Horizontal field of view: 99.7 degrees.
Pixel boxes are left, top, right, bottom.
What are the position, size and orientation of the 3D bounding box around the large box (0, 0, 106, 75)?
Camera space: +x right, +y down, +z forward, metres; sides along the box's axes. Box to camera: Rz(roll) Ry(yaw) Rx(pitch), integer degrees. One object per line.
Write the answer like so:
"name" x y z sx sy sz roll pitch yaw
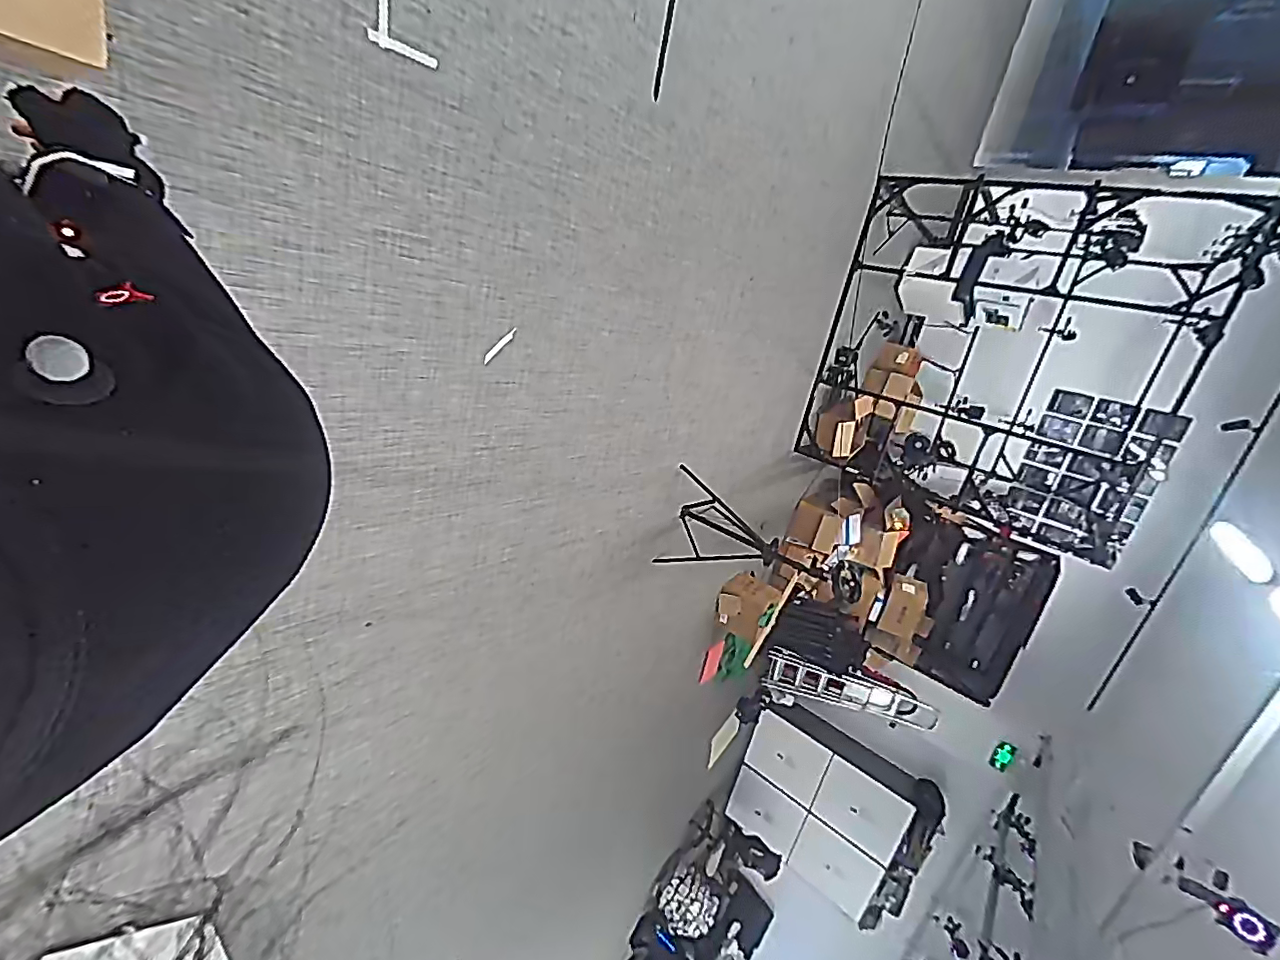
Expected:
"large box" -0.976 -0.763 0.658 0.408 0.320 0.320 -11 121 -53
